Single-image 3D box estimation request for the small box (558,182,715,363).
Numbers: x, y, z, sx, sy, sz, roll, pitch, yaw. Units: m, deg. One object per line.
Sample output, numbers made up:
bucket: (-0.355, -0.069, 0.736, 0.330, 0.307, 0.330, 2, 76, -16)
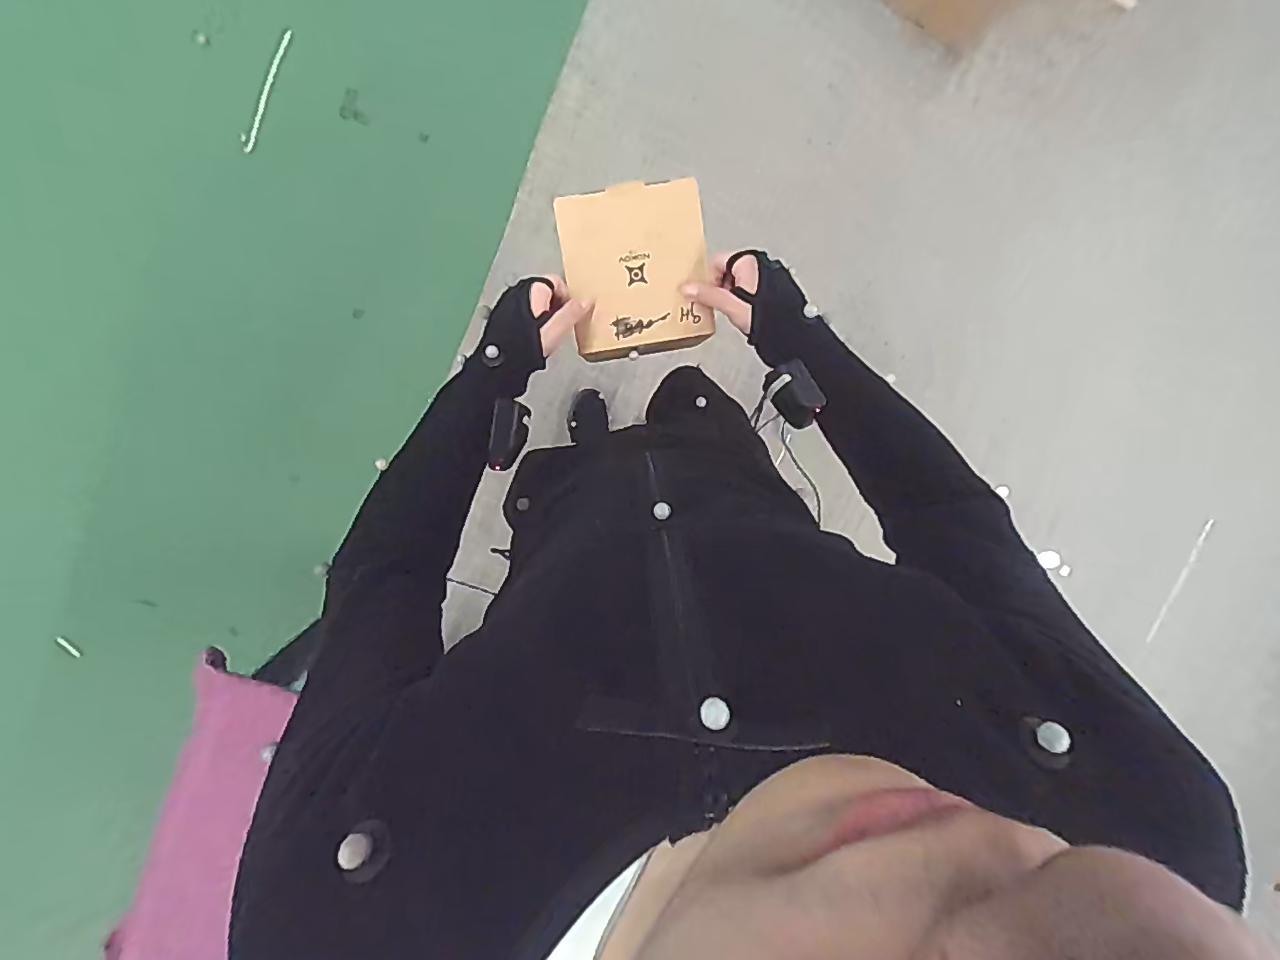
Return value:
small box: (-0.006, -0.253, 0.698, 0.168, 0.176, 0.179, -8, 99, 0)
